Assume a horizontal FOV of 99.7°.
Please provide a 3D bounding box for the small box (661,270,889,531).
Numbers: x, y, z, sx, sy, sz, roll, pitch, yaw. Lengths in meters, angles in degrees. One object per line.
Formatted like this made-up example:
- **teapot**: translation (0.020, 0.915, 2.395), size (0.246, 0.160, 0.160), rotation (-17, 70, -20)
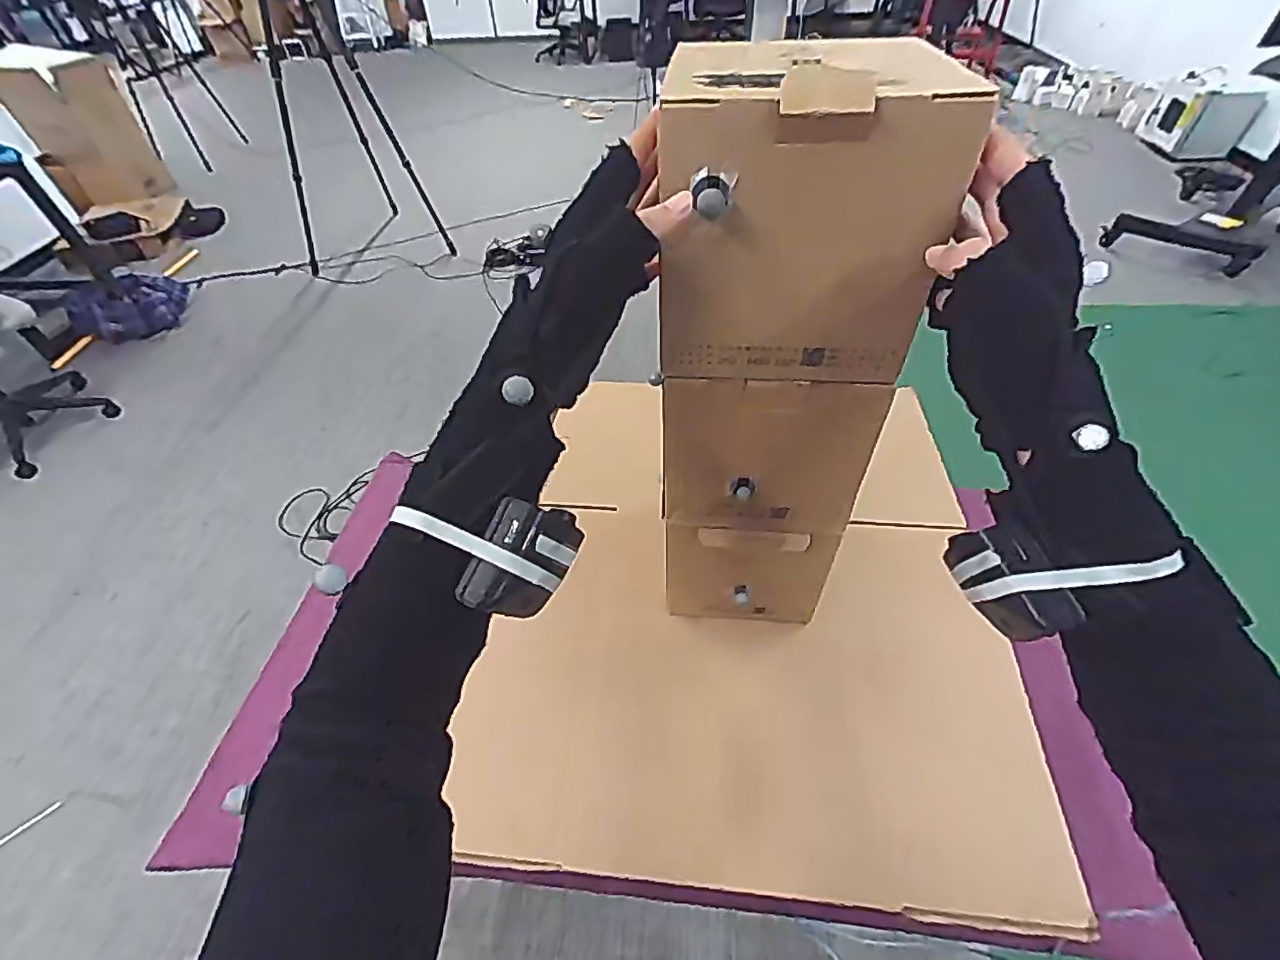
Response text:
- **small box**: translation (0.107, -0.075, 0.505), size (0.168, 0.176, 0.179), rotation (3, 47, 6)

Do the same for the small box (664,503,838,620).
- **small box**: translation (0.115, 0.037, 0.623), size (0.168, 0.176, 0.179), rotation (2, 47, 6)
